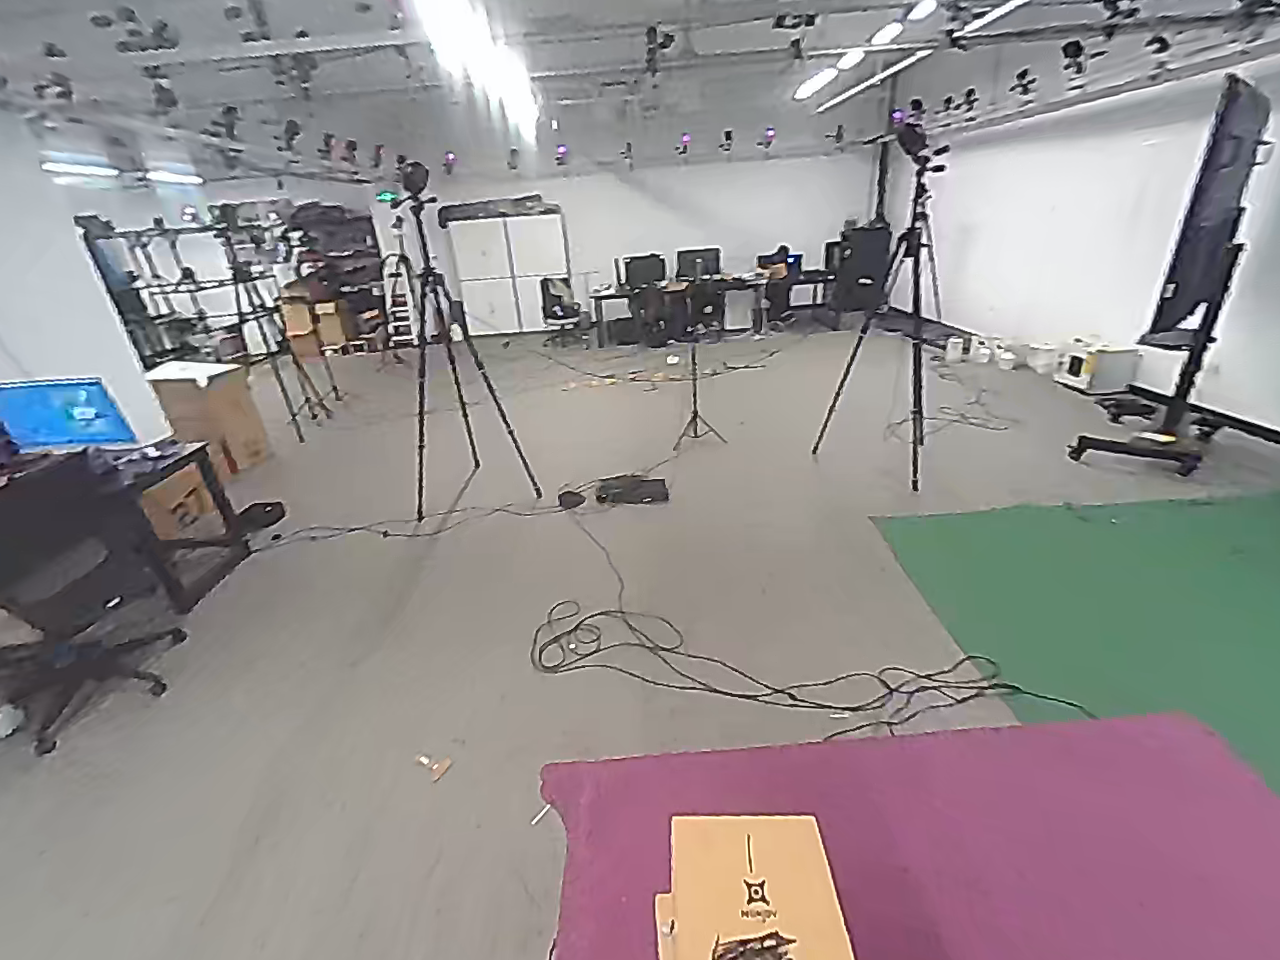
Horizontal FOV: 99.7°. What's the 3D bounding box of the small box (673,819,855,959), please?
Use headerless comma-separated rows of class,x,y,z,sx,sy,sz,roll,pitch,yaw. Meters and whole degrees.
small box,0.120,0.493,0.567,0.168,0.176,0.179,-1,26,2
